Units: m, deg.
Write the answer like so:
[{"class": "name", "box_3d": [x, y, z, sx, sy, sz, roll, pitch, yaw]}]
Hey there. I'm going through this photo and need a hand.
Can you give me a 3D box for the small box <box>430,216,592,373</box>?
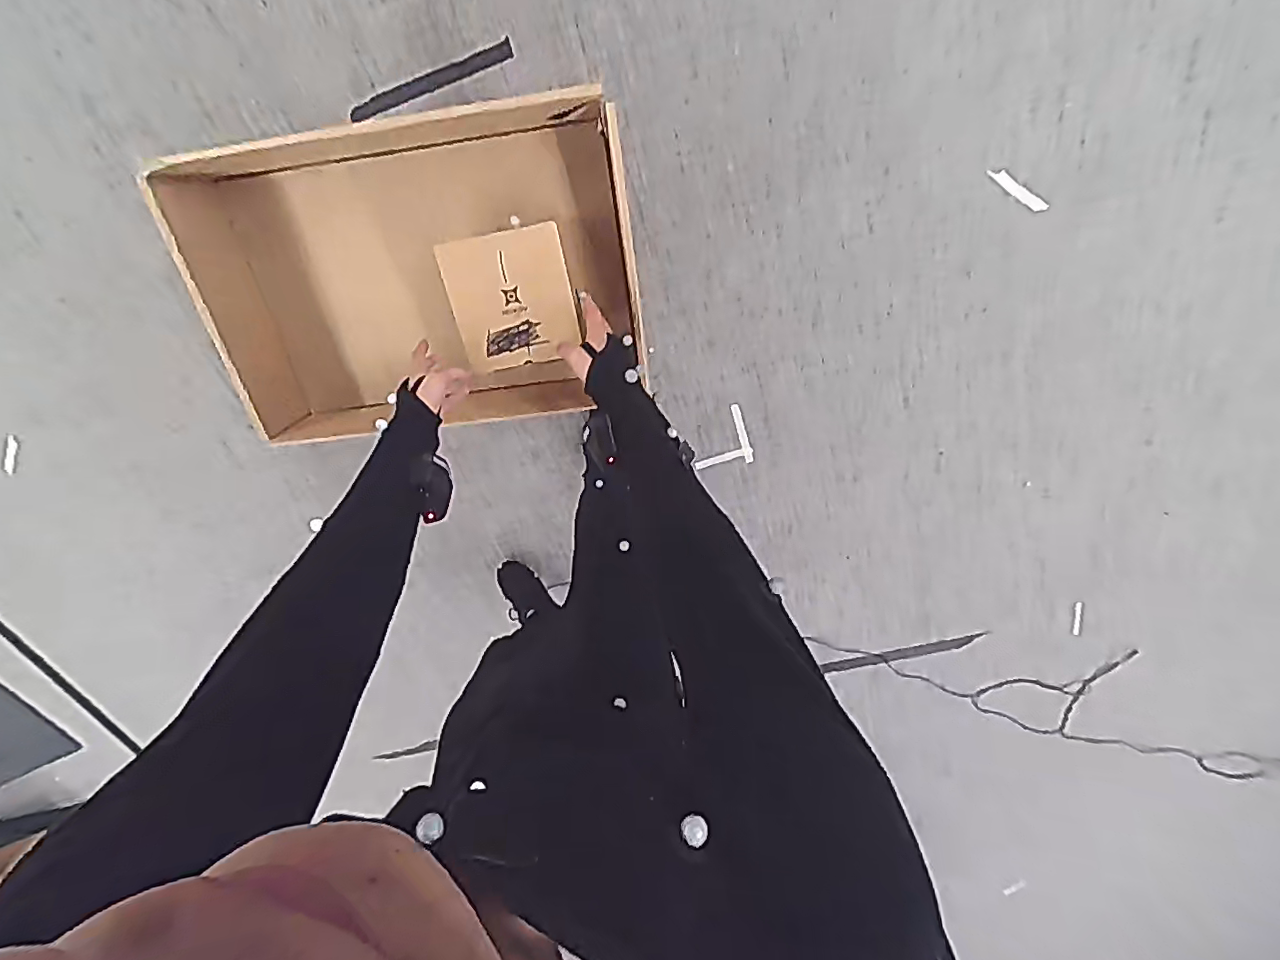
[{"class": "small box", "box_3d": [-0.170, -0.272, 0.780, 0.168, 0.176, 0.179, -9, 116, 5]}]
